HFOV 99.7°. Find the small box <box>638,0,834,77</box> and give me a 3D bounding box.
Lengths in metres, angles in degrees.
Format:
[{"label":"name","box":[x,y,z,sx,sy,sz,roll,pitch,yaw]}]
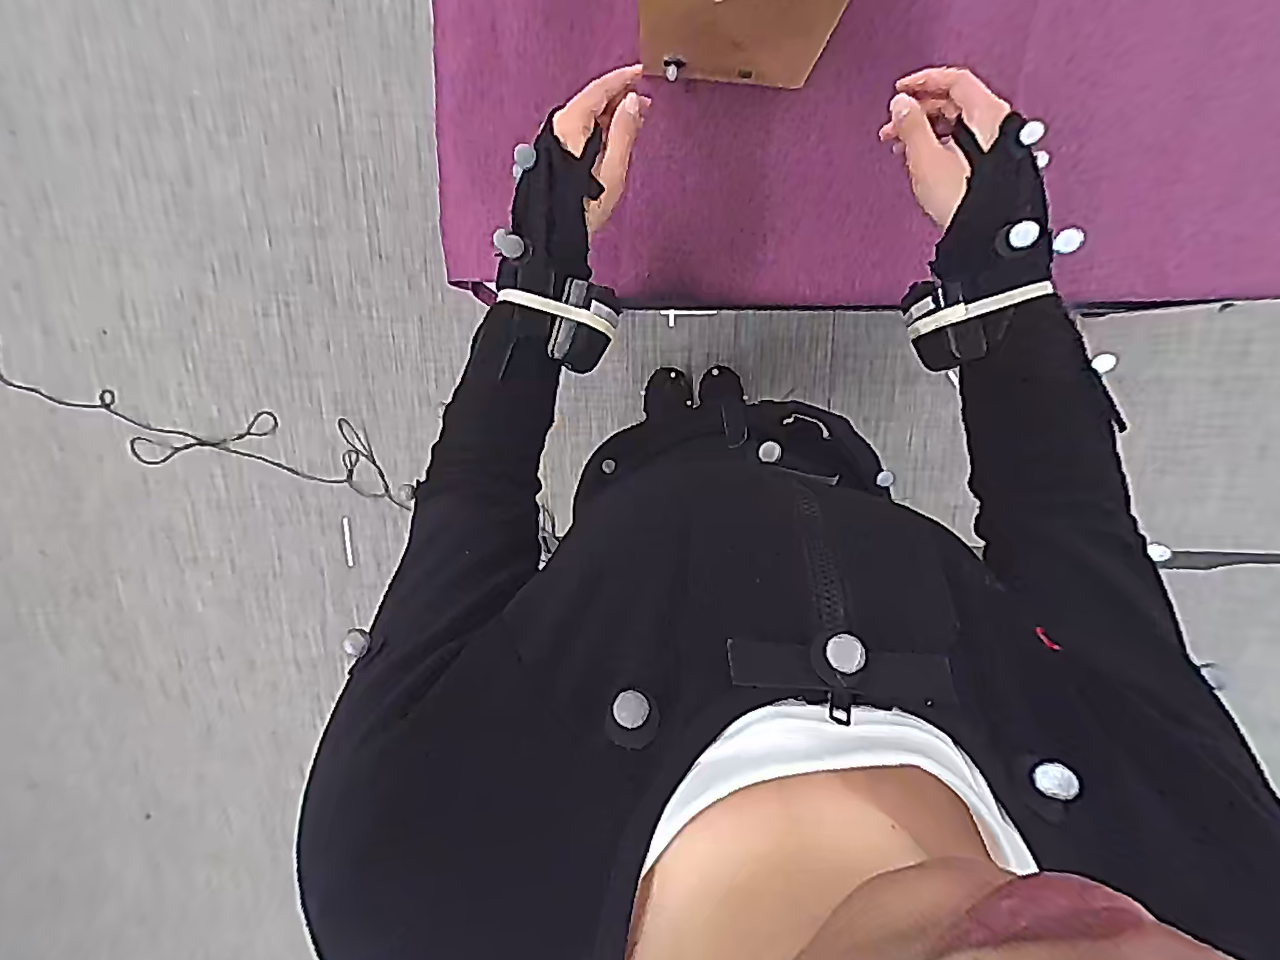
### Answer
[{"label":"small box","box":[0.088,-0.476,0.451,0.168,0.176,0.179,6,103,0]}]
